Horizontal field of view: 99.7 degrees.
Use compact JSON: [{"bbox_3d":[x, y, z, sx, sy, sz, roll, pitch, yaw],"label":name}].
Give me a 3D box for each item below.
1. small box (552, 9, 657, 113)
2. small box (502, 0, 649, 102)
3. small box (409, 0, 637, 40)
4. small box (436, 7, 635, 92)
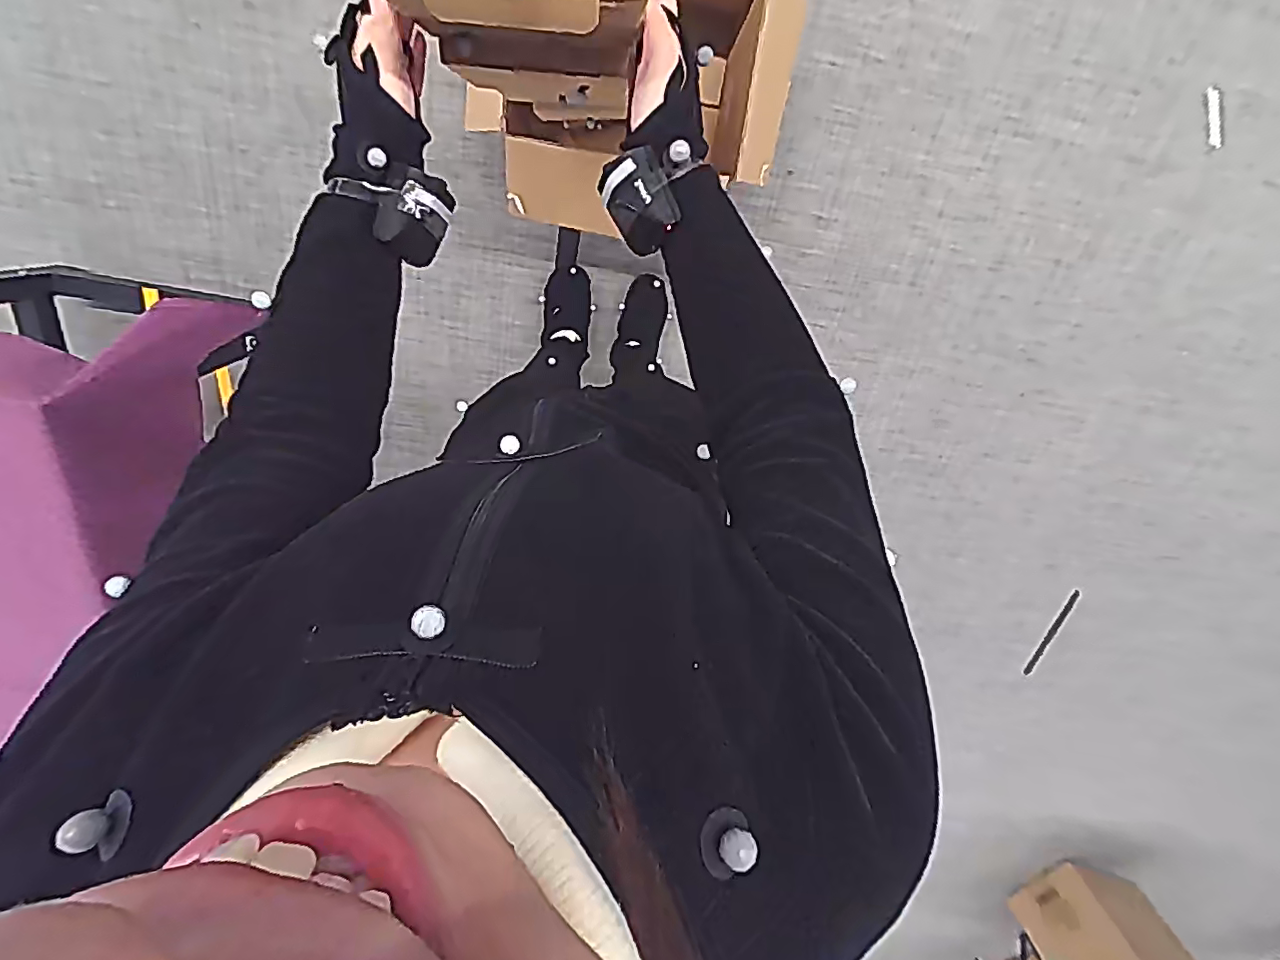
[{"bbox_3d":[-0.076,-0.731,0.902,0.179,0.176,0.168,-12,120,1],"label":"small box"},{"bbox_3d":[-0.082,-0.549,0.627,0.179,0.176,0.168,0,121,-6],"label":"small box"},{"bbox_3d":[-0.079,-0.399,0.335,0.168,0.176,0.179,-1,120,-7],"label":"small box"},{"bbox_3d":[-0.087,-0.467,0.485,0.168,0.176,0.179,1,120,-7],"label":"small box"}]
